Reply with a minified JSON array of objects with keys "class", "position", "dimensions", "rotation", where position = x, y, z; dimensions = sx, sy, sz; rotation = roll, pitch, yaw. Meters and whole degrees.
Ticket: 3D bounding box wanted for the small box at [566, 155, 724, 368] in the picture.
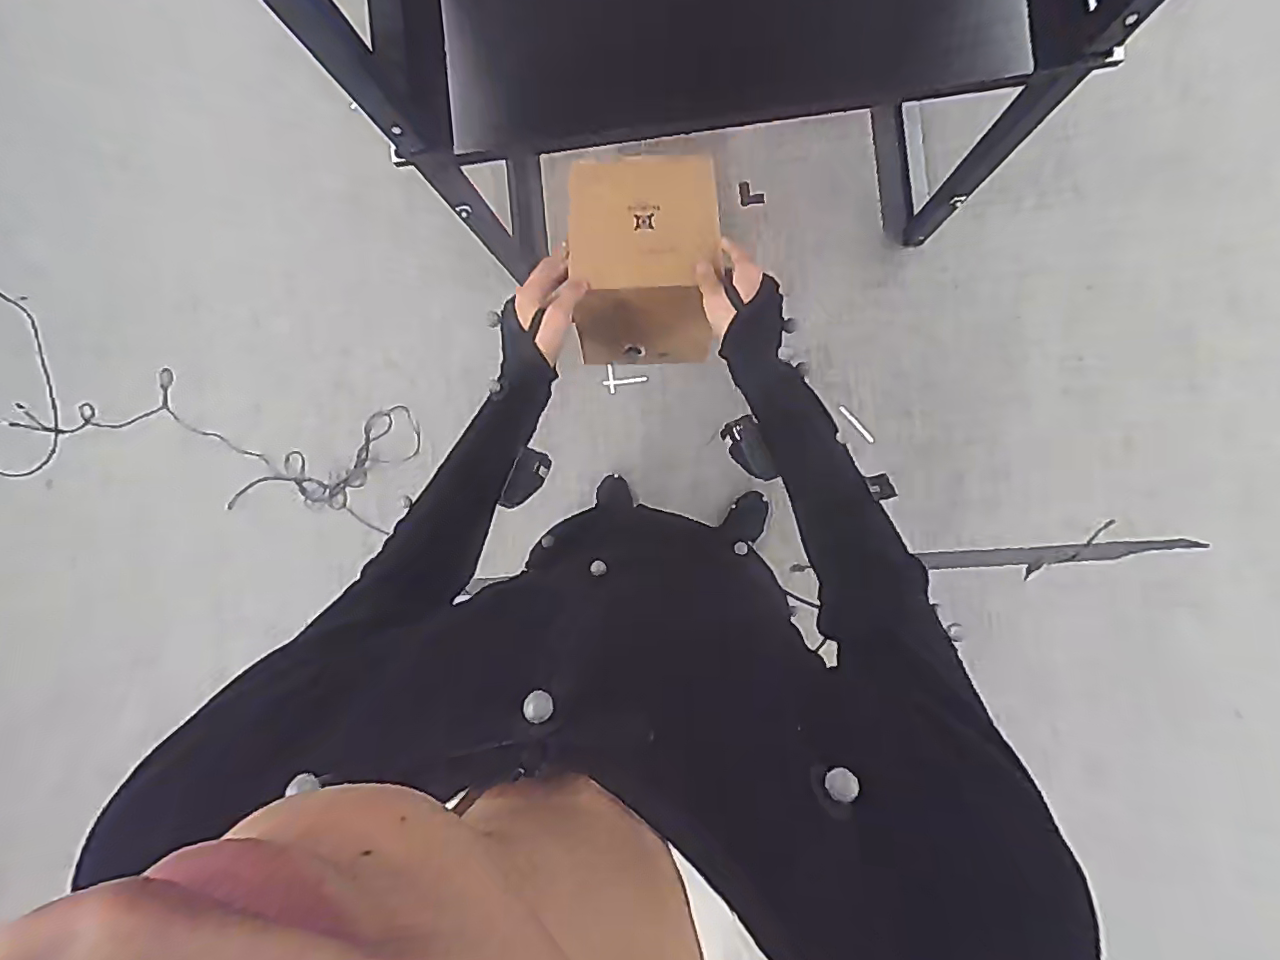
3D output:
[{"class":"small box","position":[0.003,-0.254,0.652],"dimensions":[0.168,0.176,0.179],"rotation":[-2,72,0]}]
